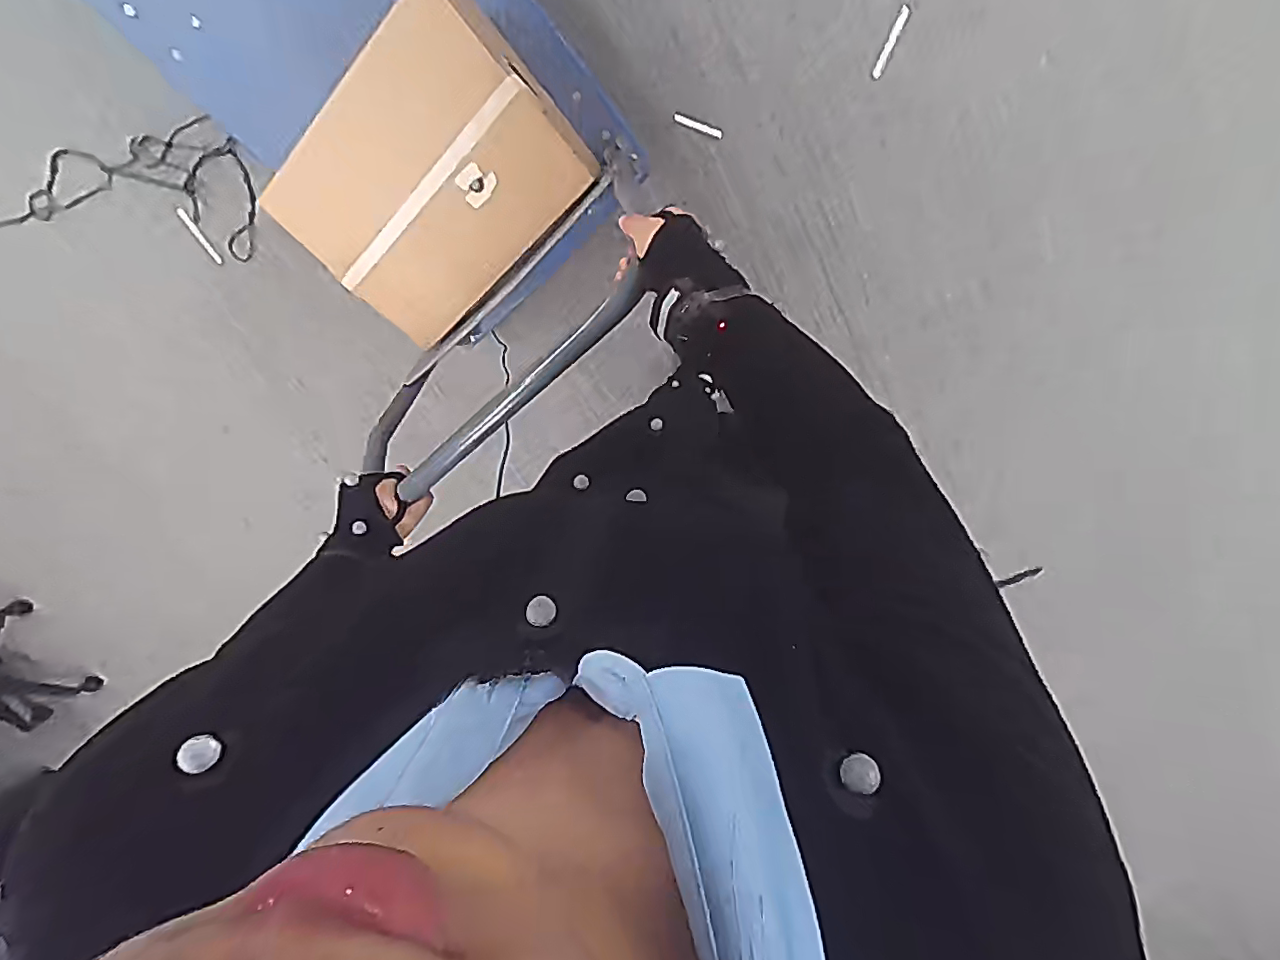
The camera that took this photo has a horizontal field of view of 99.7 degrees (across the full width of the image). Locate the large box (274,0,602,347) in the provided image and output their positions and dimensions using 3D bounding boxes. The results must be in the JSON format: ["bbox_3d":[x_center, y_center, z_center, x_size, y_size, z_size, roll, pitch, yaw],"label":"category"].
[{"bbox_3d":[-0.315,-0.514,0.938,0.408,0.320,0.320,-37,116,19],"label":"large box"}]
